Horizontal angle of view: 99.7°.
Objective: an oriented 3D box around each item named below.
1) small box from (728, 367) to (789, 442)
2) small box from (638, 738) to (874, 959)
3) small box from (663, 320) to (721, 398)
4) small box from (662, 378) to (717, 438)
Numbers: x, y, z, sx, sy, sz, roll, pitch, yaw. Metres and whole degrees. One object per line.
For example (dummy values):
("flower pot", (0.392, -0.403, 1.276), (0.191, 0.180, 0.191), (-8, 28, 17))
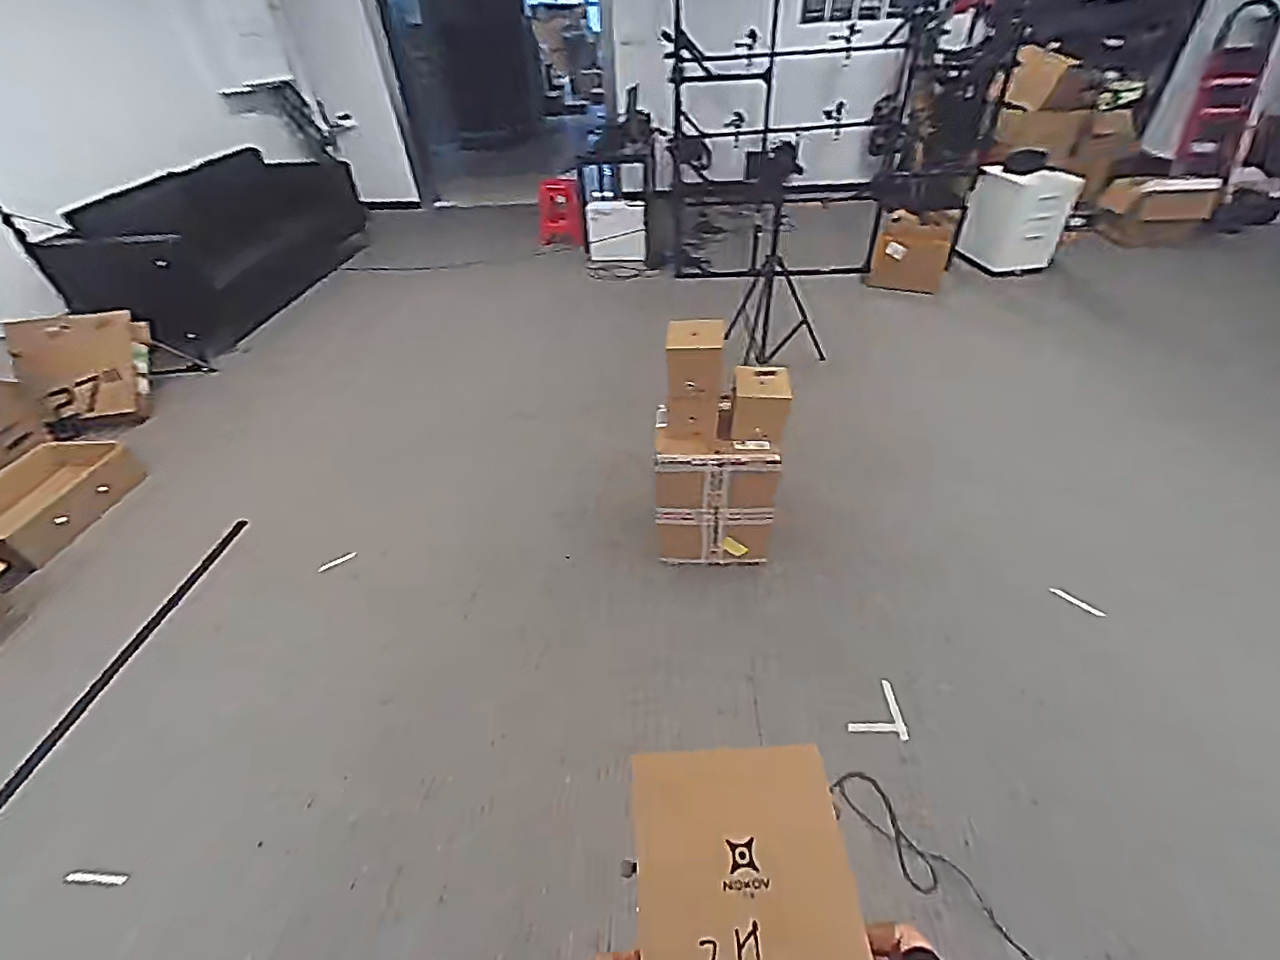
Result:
("small box", (0.371, -0.243, 1.725), (0.168, 0.176, 0.179), (2, 43, 5))
("small box", (0.081, 0.350, 0.475), (0.168, 0.176, 0.179), (-3, 46, 0))
("small box", (0.161, -0.365, 1.631), (0.168, 0.176, 0.179), (0, 43, 8))
("small box", (0.163, -0.249, 1.746), (0.168, 0.176, 0.179), (1, 43, 8))
